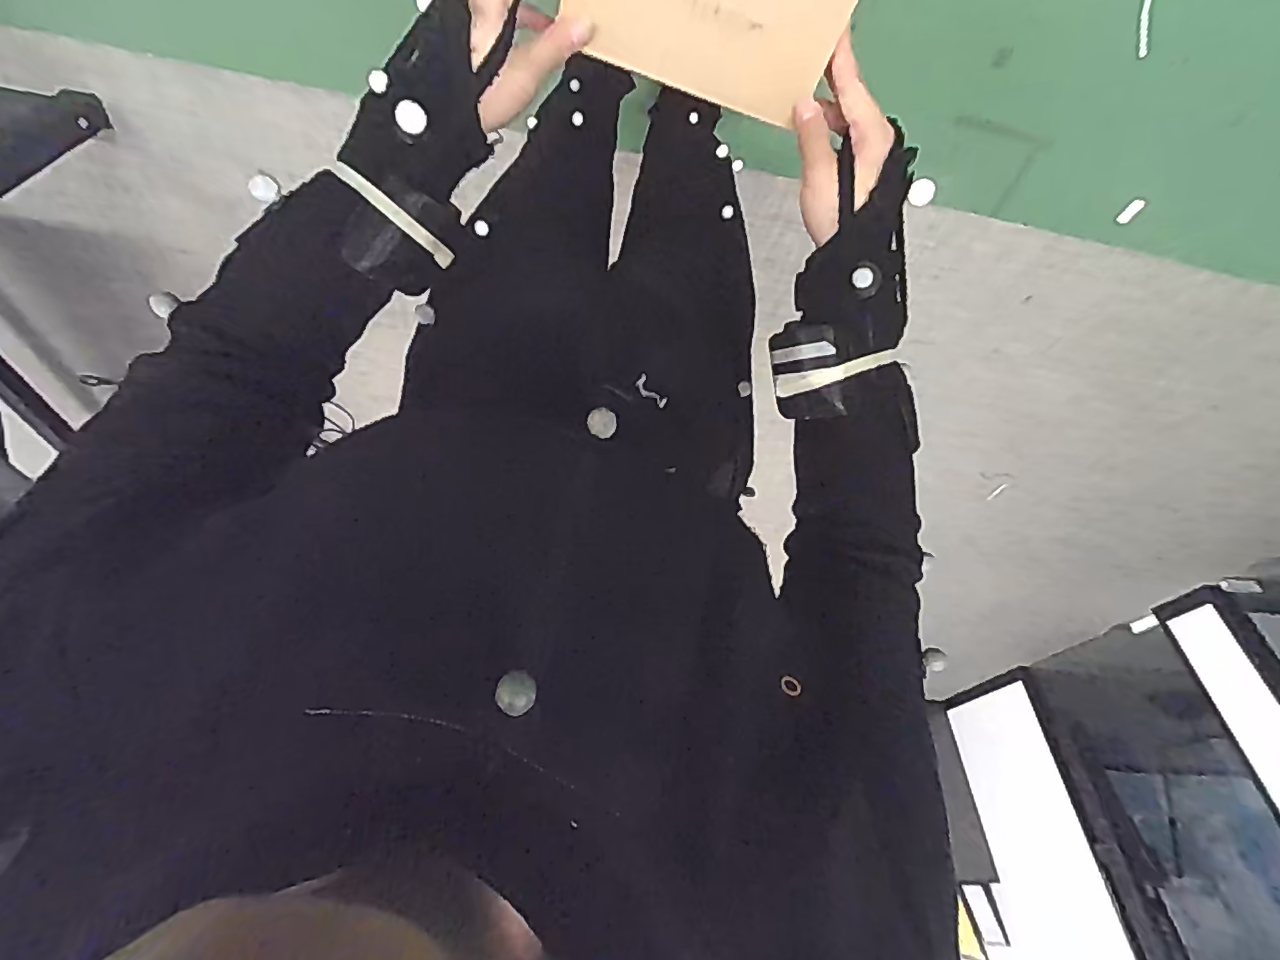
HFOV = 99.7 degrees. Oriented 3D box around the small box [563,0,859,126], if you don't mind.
[{"bbox_3d":[0.059,-0.369,0.327,0.168,0.176,0.179,14,145,-10],"label":"small box"}]
